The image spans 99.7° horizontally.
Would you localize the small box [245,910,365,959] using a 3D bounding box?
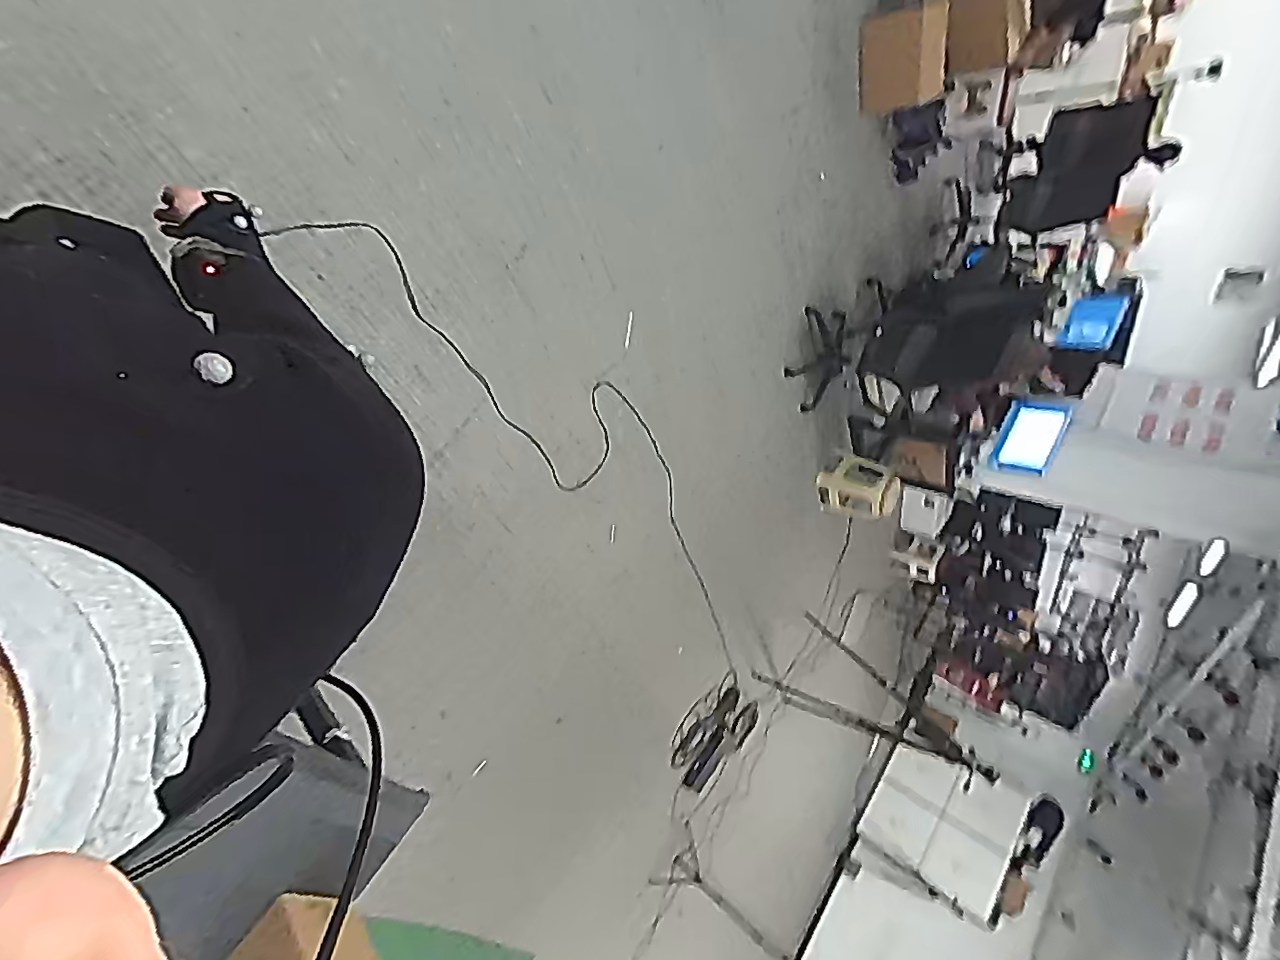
[{"bbox_3d":[-0.565,0.860,0.881,0.179,0.176,0.168,-52,137,-21],"label":"small box"}]
